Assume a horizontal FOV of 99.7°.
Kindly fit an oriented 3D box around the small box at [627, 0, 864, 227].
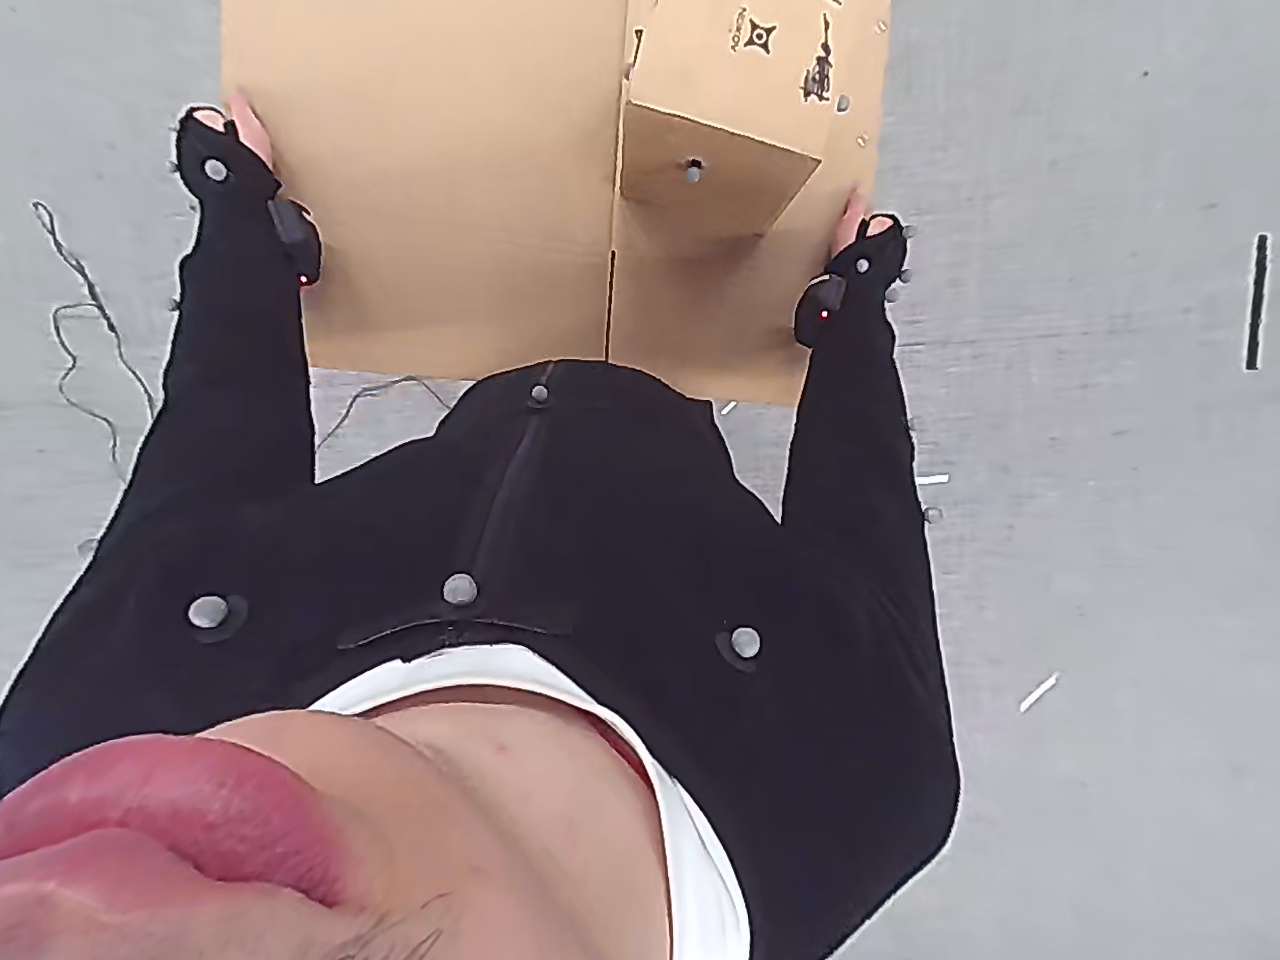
[{"bbox_3d":[0.089,-0.378,0.534,0.179,0.176,0.168,14,94,-4],"label":"small box"}]
